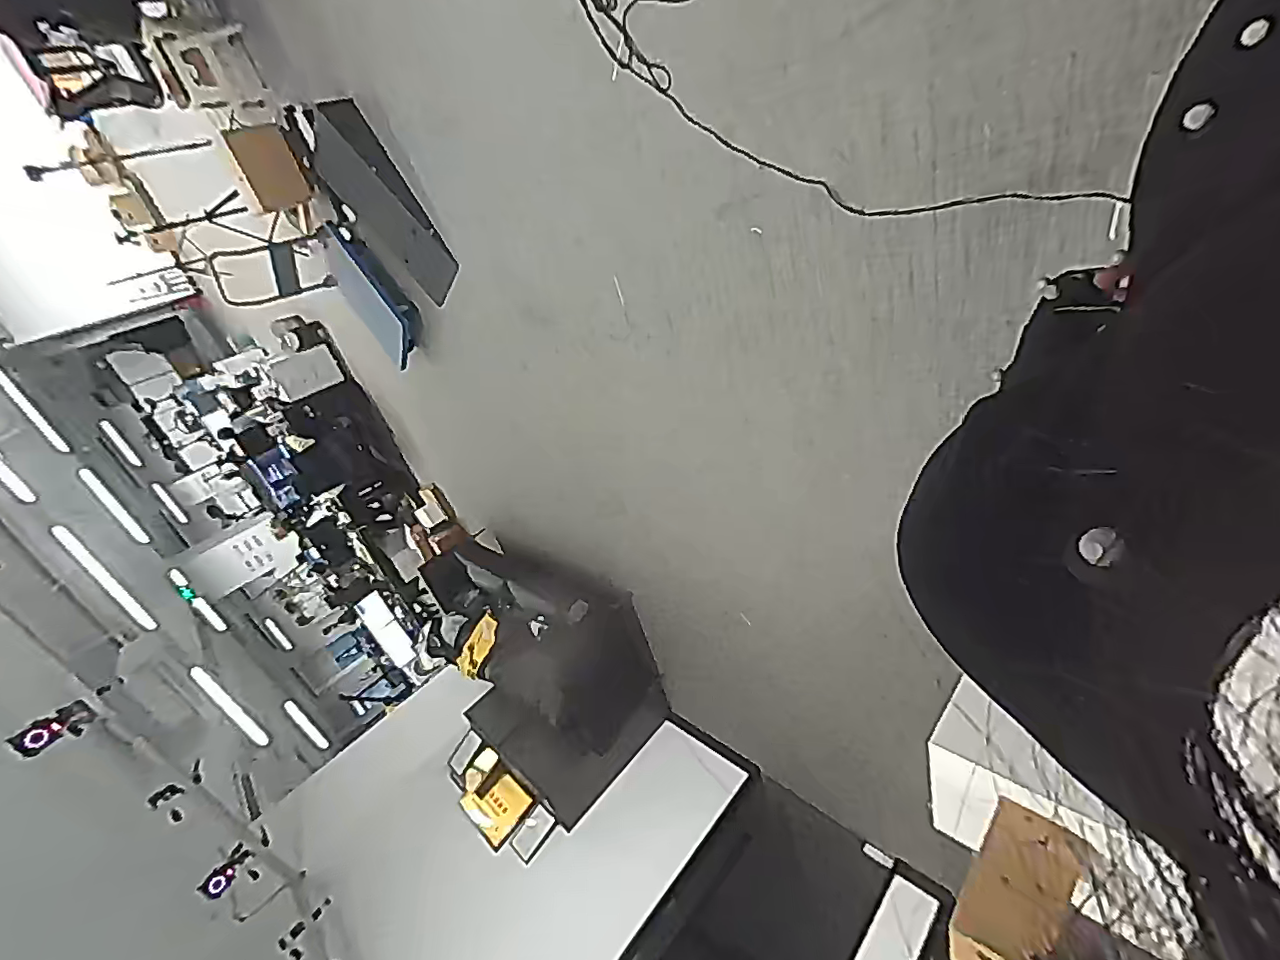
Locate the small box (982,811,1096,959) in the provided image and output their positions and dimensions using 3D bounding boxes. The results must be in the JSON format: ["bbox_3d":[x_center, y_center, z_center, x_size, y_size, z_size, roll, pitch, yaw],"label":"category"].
[{"bbox_3d":[0.884,0.892,1.201,0.168,0.176,0.179,15,132,45],"label":"small box"}]
